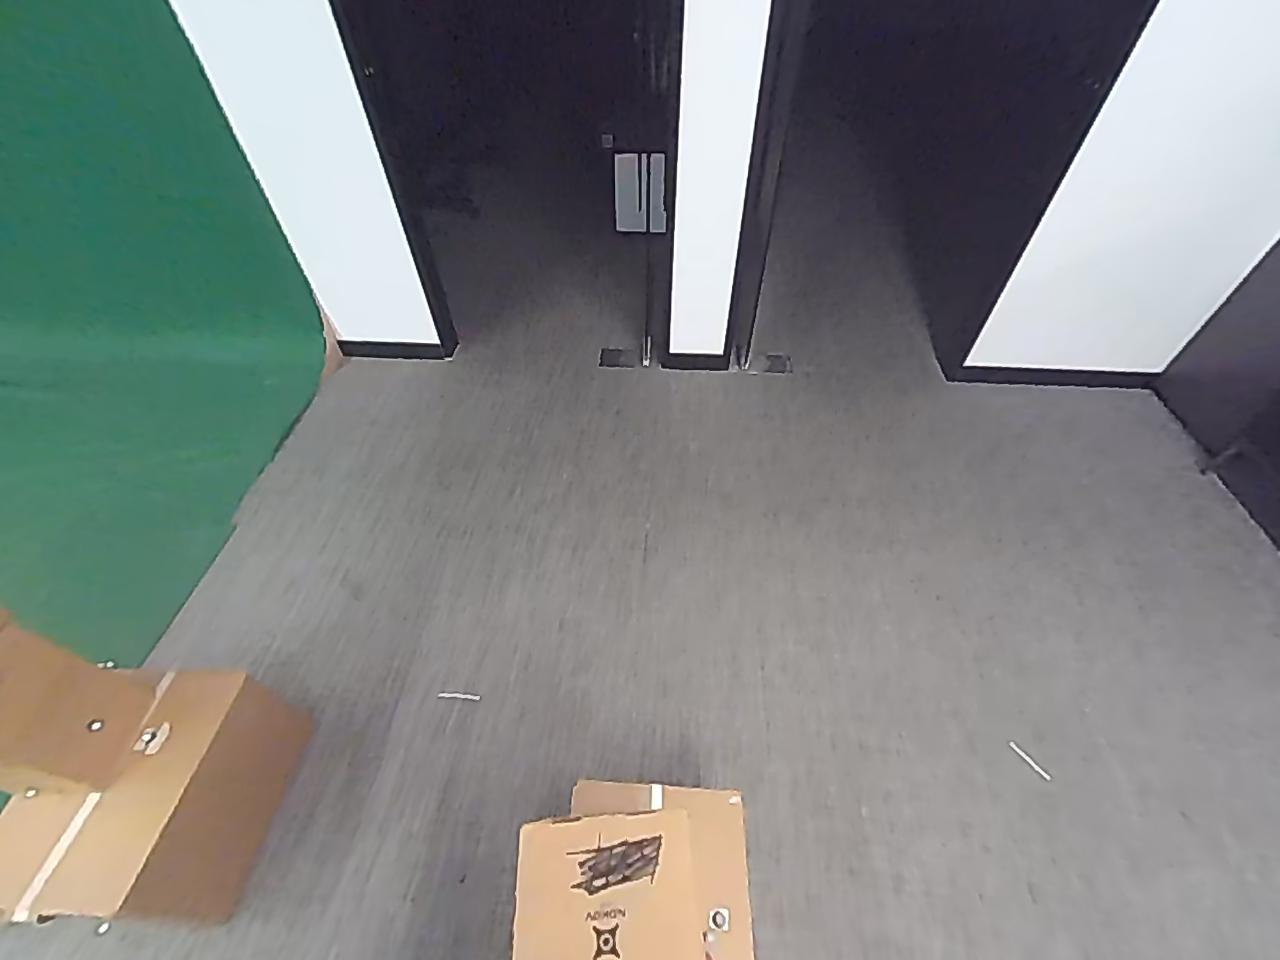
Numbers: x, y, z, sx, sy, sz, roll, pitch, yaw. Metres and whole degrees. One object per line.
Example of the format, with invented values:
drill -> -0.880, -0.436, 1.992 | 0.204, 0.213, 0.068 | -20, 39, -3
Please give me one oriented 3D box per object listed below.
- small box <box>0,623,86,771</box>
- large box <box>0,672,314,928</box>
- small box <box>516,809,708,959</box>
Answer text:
small box -> -1.065, 0.344, 0.863 | 0.168, 0.176, 0.179 | -1, 49, 4
large box -> -0.977, 0.661, 1.125 | 0.320, 0.320, 0.408 | 1, 47, 3
small box -> -0.021, 0.448, 0.528 | 0.168, 0.176, 0.179 | -6, 46, 0
